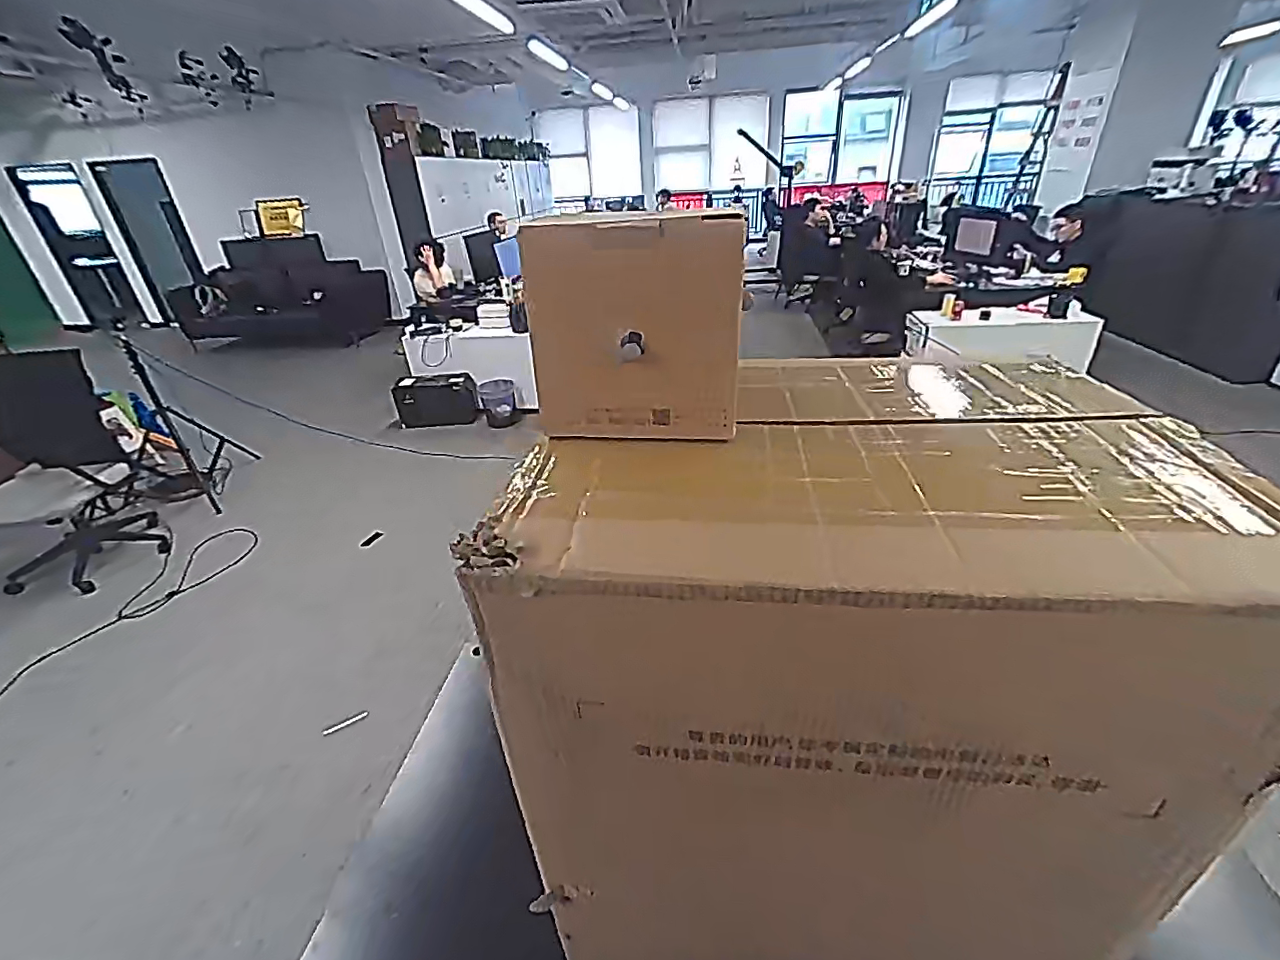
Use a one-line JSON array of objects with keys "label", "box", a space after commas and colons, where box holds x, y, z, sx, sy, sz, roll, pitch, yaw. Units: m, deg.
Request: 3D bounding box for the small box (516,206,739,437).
[{"label": "small box", "box": [0.005, -0.146, 0.491, 0.168, 0.176, 0.179, 2, 29, 7]}]
